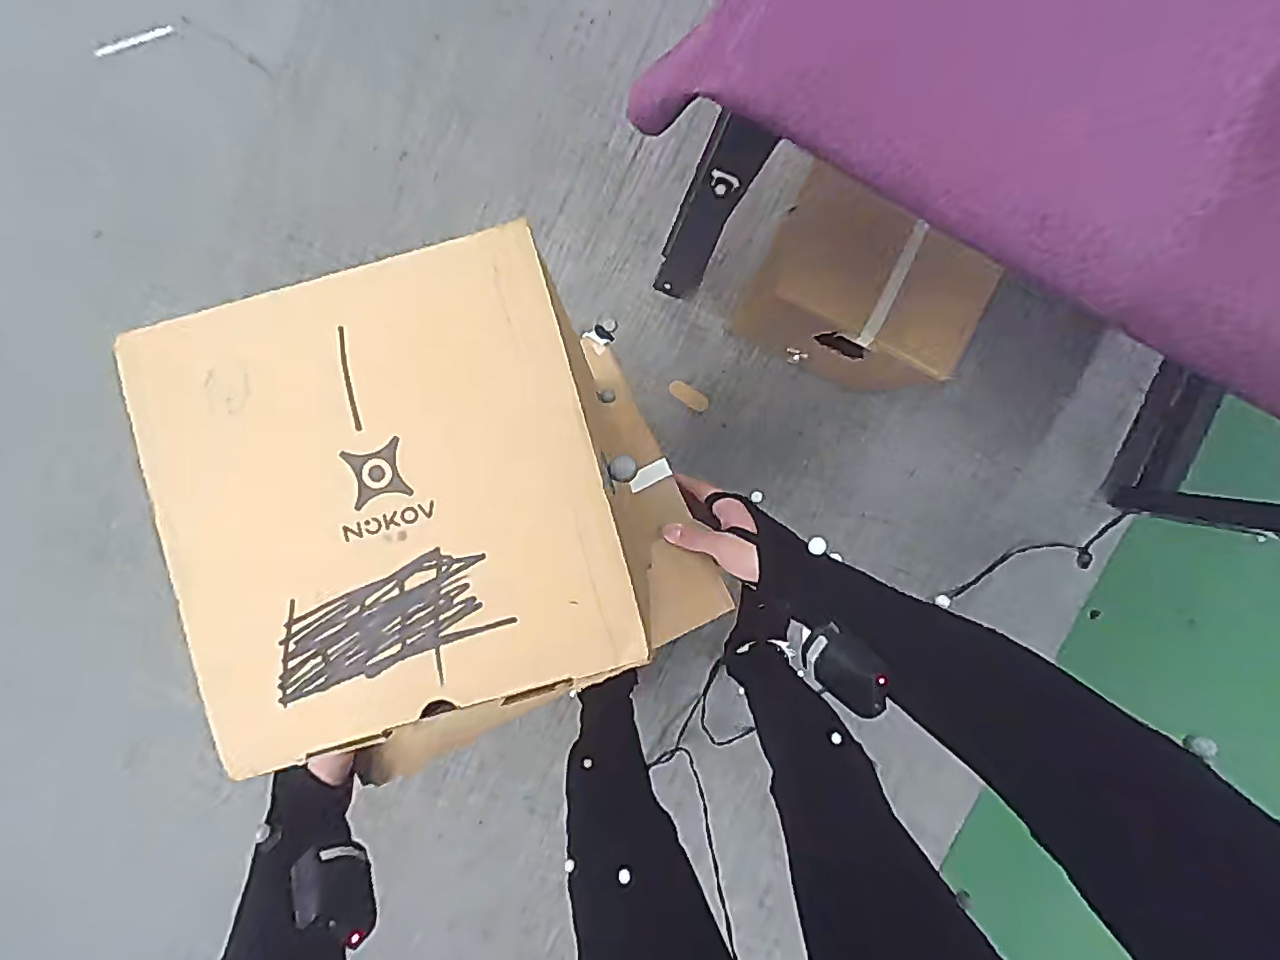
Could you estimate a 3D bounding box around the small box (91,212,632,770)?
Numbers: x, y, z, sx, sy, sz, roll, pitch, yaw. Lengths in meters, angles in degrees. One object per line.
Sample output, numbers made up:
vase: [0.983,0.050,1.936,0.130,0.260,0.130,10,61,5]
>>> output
small box: [-0.103,0.005,0.279,0.168,0.176,0.179,-16,88,0]
